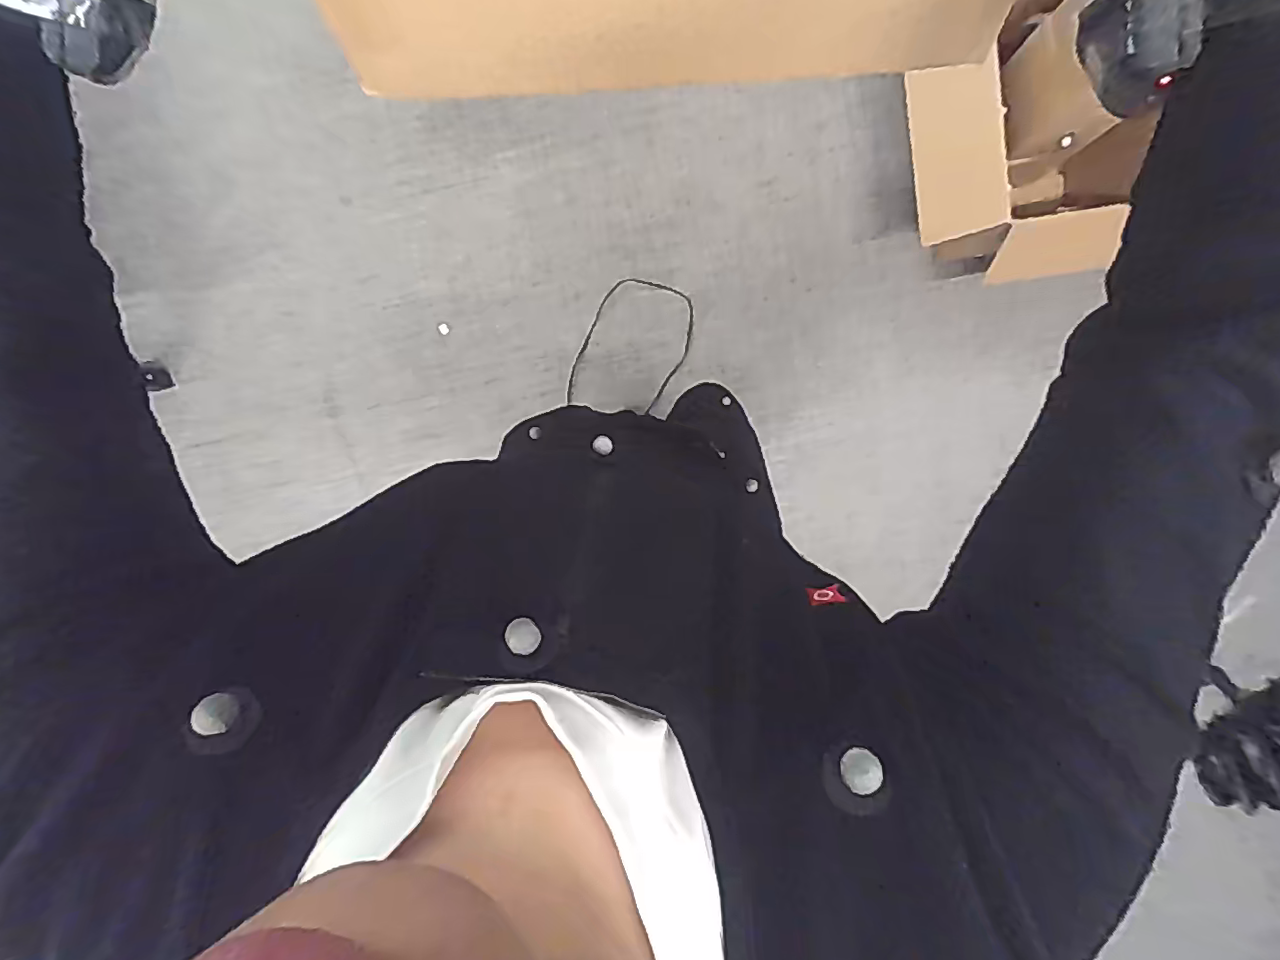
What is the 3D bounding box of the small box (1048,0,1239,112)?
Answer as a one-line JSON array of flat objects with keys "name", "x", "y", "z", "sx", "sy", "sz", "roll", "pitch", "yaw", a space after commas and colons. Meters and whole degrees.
[{"name": "small box", "x": 0.816, "y": -0.760, "z": 0.895, "sx": 0.168, "sy": 0.176, "sz": 0.179, "roll": -8, "pitch": 94, "yaw": 5}]
